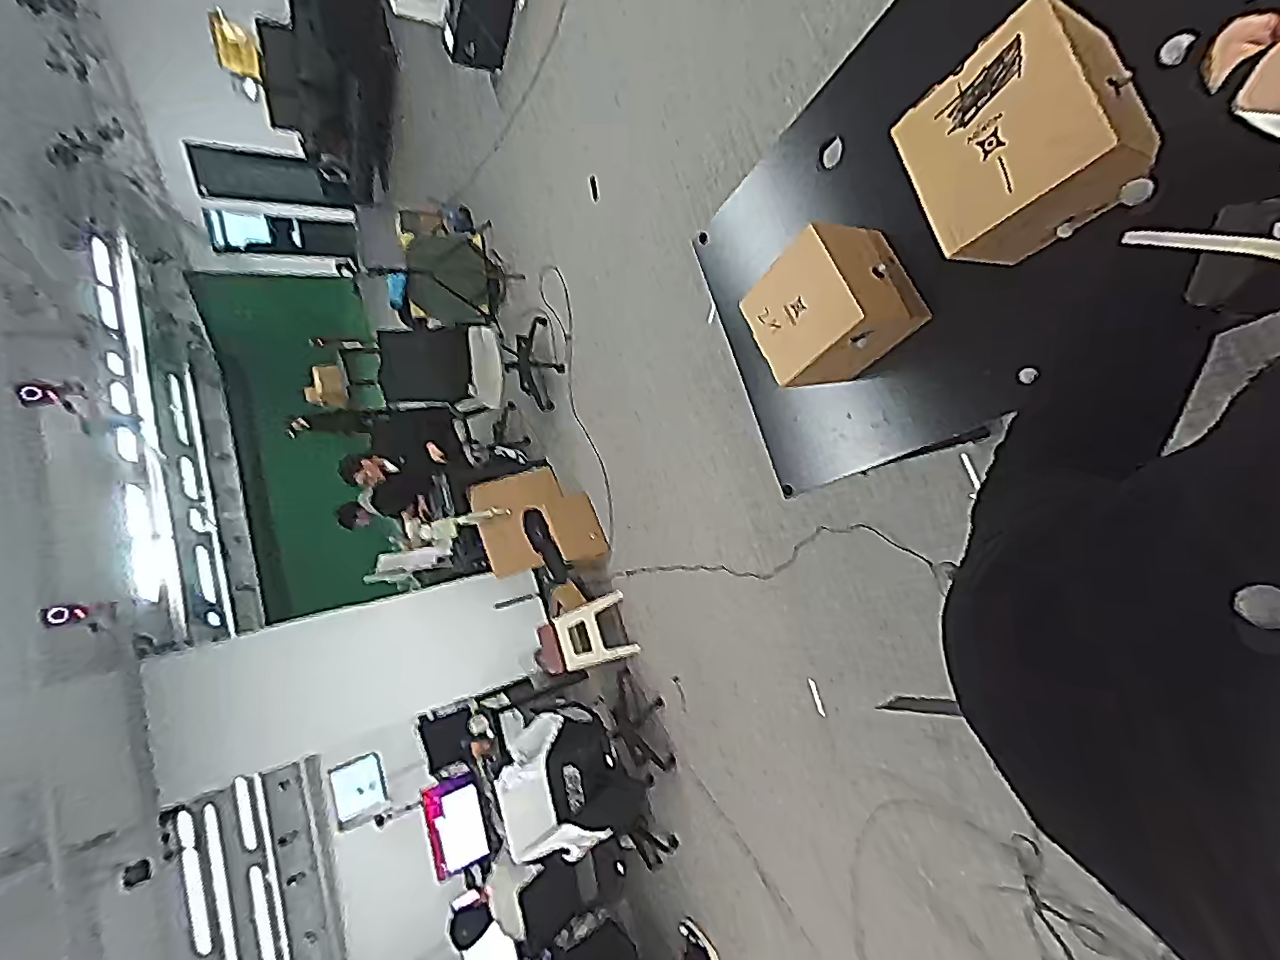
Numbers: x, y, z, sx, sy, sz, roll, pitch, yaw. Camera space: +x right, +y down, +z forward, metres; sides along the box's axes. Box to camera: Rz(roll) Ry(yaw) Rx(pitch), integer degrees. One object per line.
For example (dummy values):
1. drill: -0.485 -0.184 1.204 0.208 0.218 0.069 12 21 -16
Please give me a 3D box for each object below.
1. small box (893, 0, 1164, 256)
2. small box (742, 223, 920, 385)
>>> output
1. small box: 0.429 -0.373 0.606 0.168 0.176 0.179 -31 74 57
2. small box: 0.300 -0.269 0.844 0.179 0.176 0.168 -45 62 54
